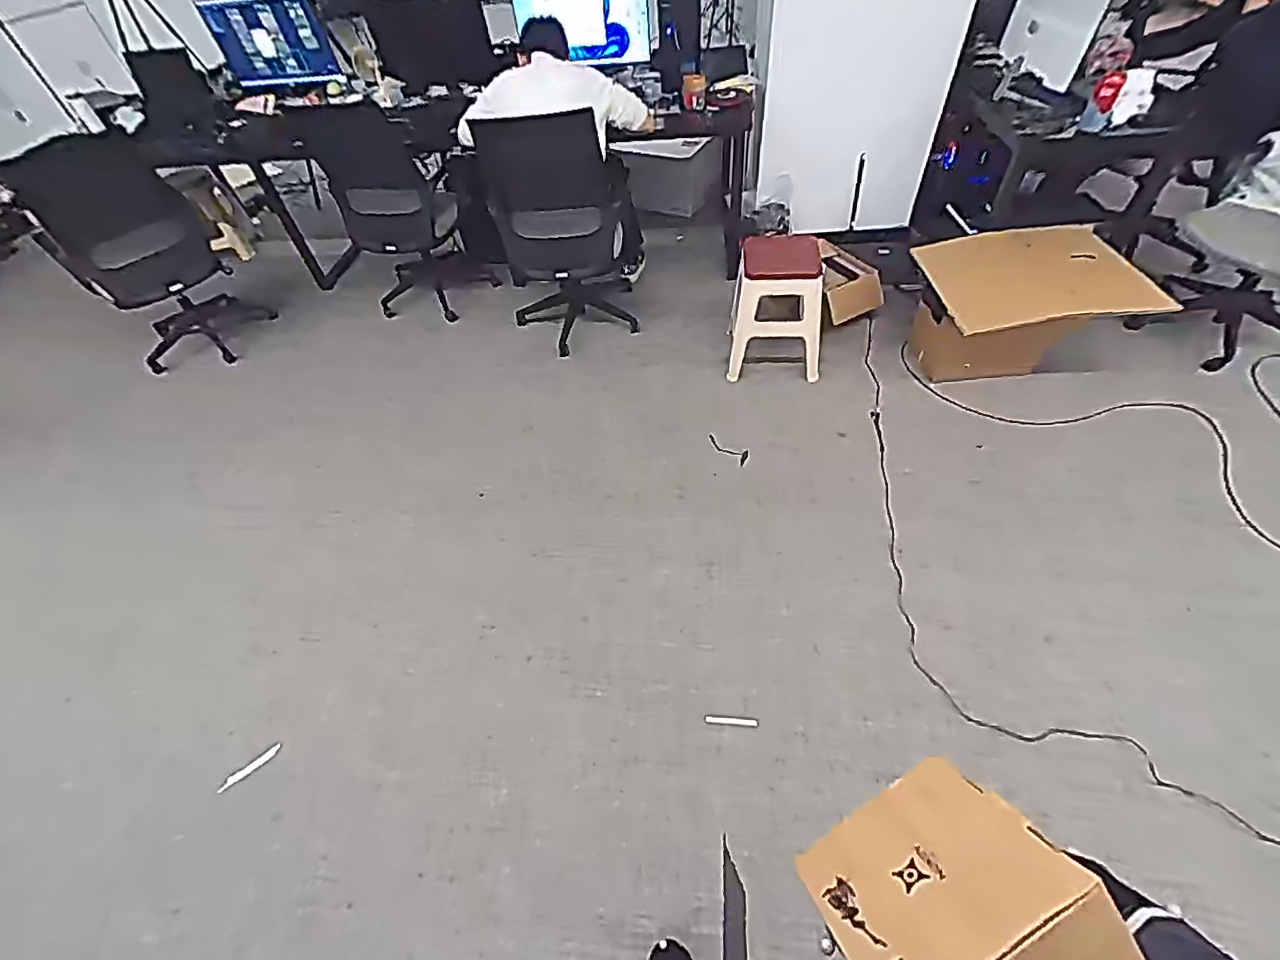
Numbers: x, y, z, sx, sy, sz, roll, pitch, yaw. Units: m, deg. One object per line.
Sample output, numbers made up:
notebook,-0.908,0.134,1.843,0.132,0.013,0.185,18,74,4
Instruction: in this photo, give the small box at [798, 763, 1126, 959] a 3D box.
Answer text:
small box,0.273,0.394,0.455,0.179,0.168,0.176,-31,94,-6
